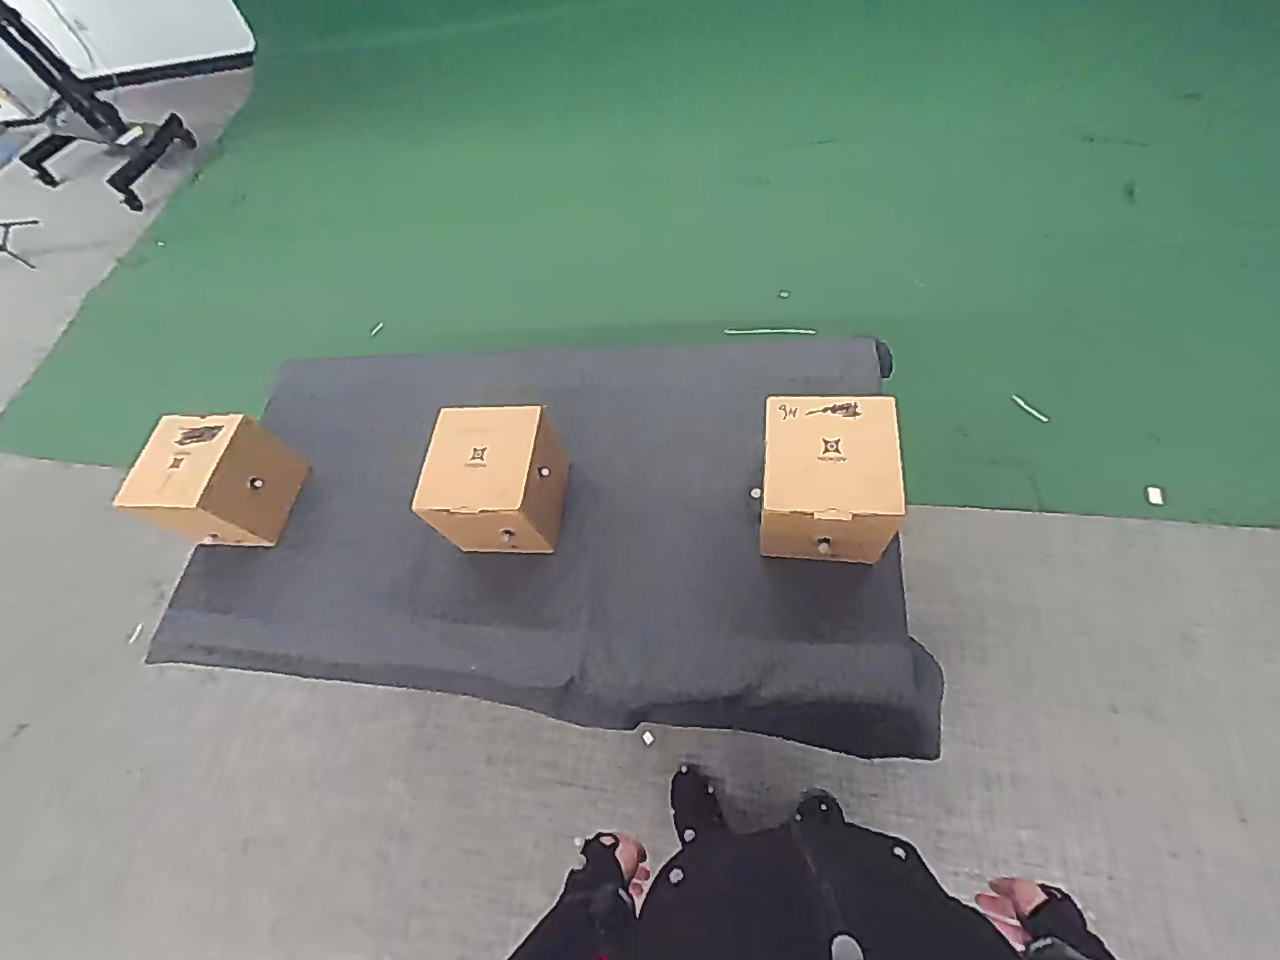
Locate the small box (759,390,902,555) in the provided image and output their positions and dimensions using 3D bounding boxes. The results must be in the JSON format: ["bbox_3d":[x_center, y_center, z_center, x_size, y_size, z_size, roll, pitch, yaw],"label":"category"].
[{"bbox_3d":[0.253,-0.005,0.750,0.168,0.176,0.179,3,64,12],"label":"small box"}]

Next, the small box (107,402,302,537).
[{"bbox_3d":[-0.734,-0.016,0.939,0.168,0.176,0.179,1,63,11],"label":"small box"}]

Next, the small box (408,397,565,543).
[{"bbox_3d":[-0.224,-0.010,0.845,0.168,0.176,0.179,1,62,10],"label":"small box"}]
